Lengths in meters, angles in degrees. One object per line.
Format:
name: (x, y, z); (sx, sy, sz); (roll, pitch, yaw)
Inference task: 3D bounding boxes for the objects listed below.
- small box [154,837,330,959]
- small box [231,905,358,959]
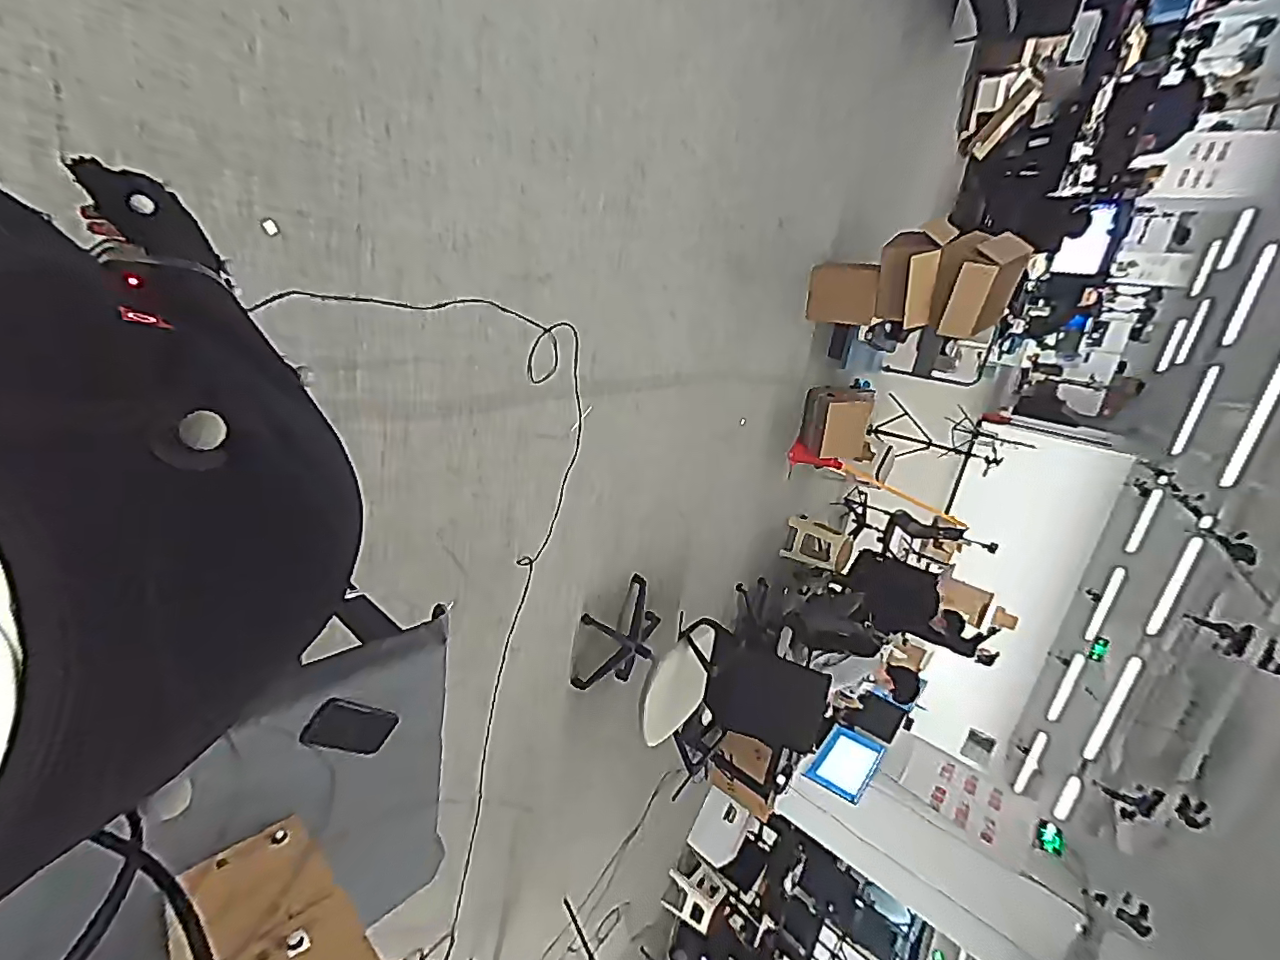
small box: (-0.572, 0.661, 0.778); (0.168, 0.176, 0.179); (-9, 116, -51)
small box: (-0.448, 0.706, 0.683); (0.168, 0.176, 0.179); (-11, 116, -51)
